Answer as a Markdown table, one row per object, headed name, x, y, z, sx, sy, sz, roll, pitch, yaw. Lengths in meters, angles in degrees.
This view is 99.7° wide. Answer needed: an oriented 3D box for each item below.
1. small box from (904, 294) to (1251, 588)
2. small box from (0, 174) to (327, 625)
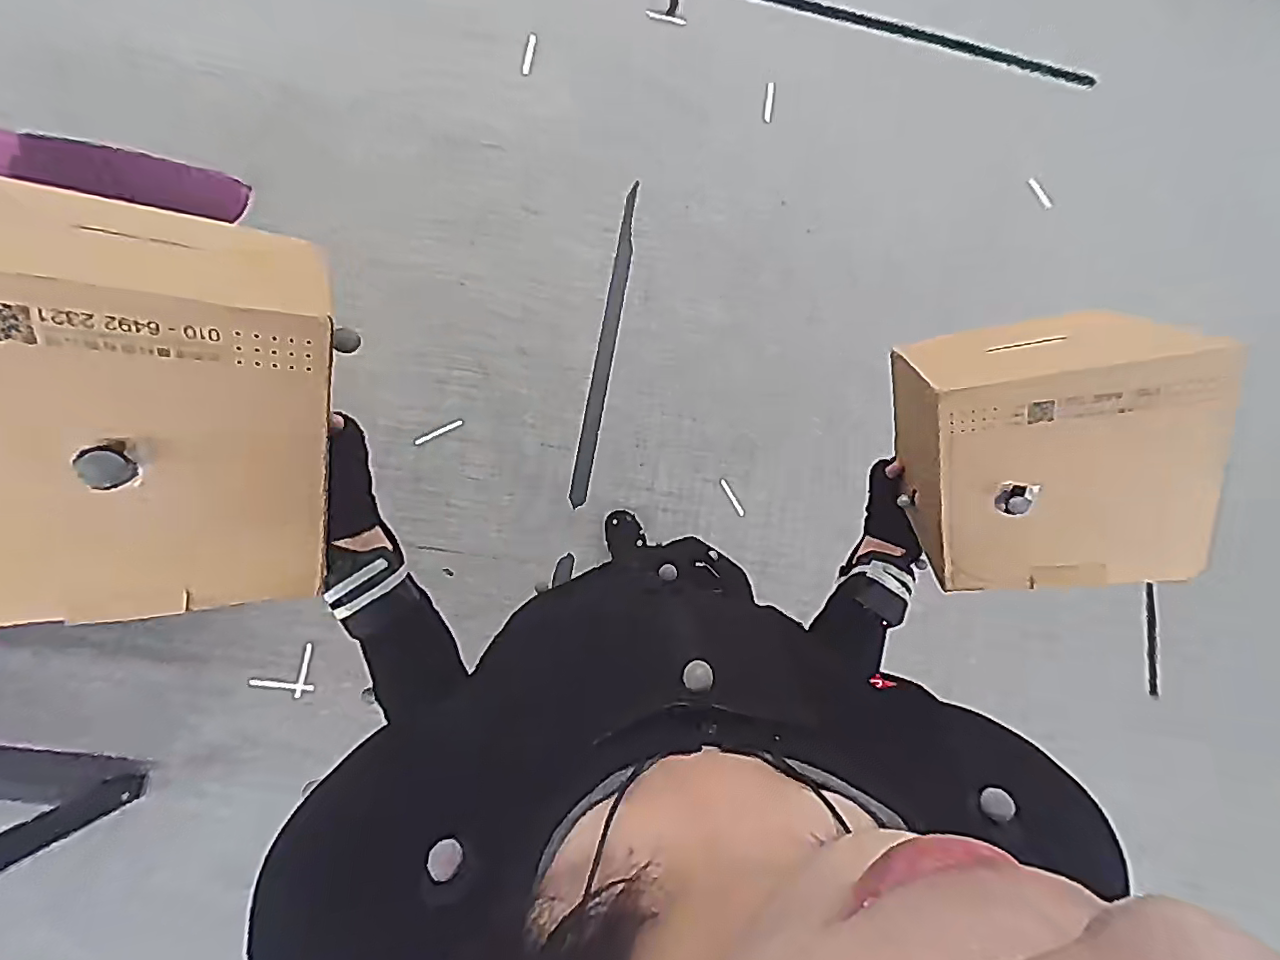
| name | x | y | z | sx | sy | sz | roll | pitch | yaw |
| --- | --- | --- | --- | --- | --- | --- | --- | --- | --- |
| small box | 0.314 | -0.038 | 0.428 | 0.168 | 0.179 | 0.176 | -7 | 113 | 17 |
| small box | -0.263 | -0.050 | 0.283 | 0.168 | 0.179 | 0.176 | 1 | 119 | -31 |
